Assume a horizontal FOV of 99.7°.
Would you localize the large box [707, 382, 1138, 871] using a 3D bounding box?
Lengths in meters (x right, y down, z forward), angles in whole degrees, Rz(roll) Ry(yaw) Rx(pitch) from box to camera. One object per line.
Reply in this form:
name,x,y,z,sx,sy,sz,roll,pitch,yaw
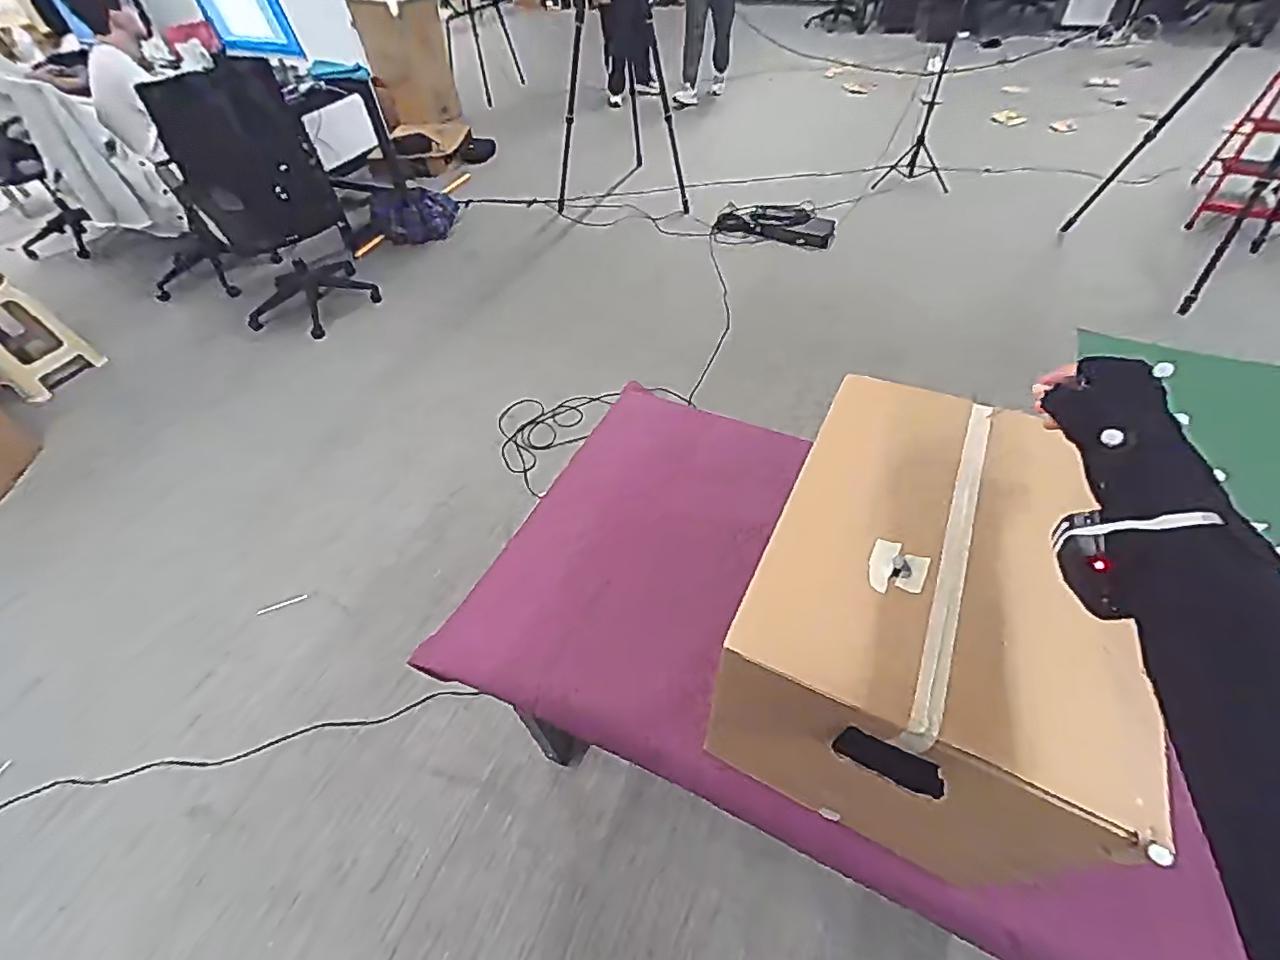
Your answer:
large box,0.304,0.156,0.643,0.320,0.320,0.408,21,54,20
